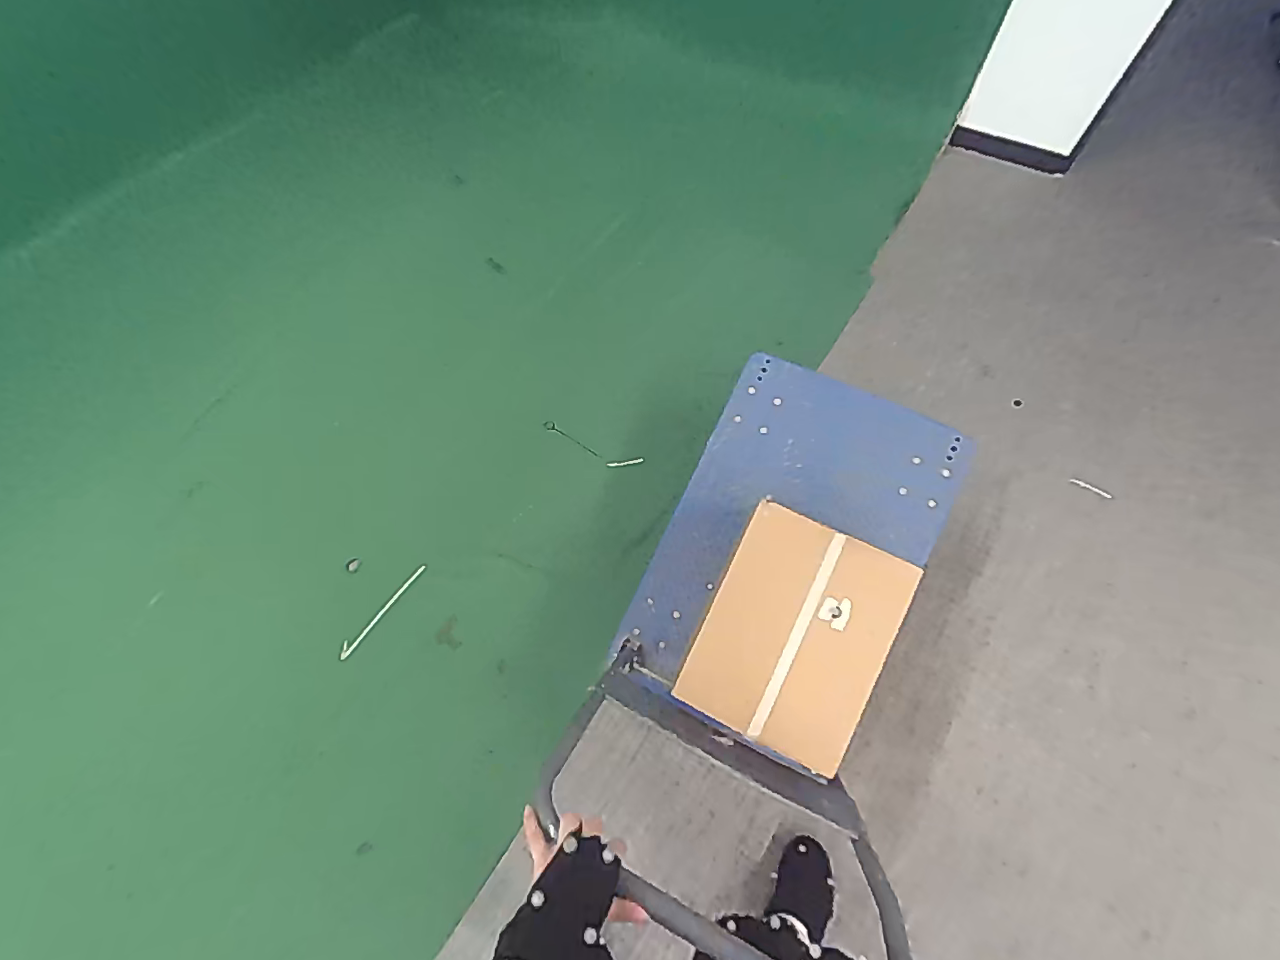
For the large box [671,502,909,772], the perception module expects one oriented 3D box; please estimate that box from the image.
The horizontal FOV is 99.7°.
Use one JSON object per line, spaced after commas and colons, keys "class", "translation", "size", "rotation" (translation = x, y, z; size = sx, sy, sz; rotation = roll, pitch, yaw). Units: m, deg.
{"class": "large box", "translation": [0.294, 0.304, 1.143], "size": [0.320, 0.320, 0.408], "rotation": [26, 86, 10]}
